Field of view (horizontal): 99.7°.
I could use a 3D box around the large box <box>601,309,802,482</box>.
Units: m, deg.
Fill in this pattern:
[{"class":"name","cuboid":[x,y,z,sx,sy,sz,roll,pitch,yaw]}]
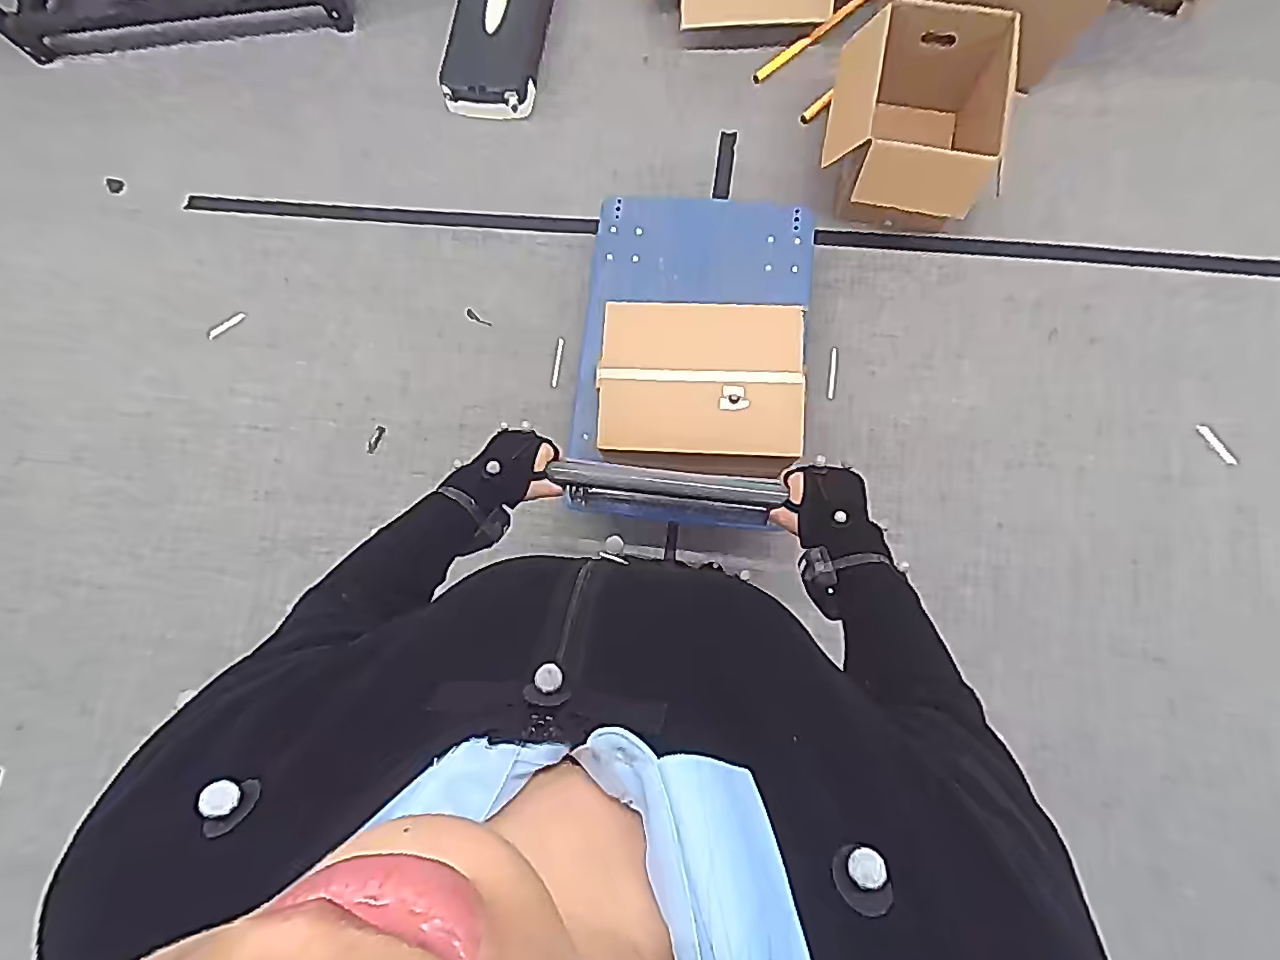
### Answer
[{"class":"large box","cuboid":[0.127,-0.173,1.234,0.408,0.320,0.320,2,82,3]}]
